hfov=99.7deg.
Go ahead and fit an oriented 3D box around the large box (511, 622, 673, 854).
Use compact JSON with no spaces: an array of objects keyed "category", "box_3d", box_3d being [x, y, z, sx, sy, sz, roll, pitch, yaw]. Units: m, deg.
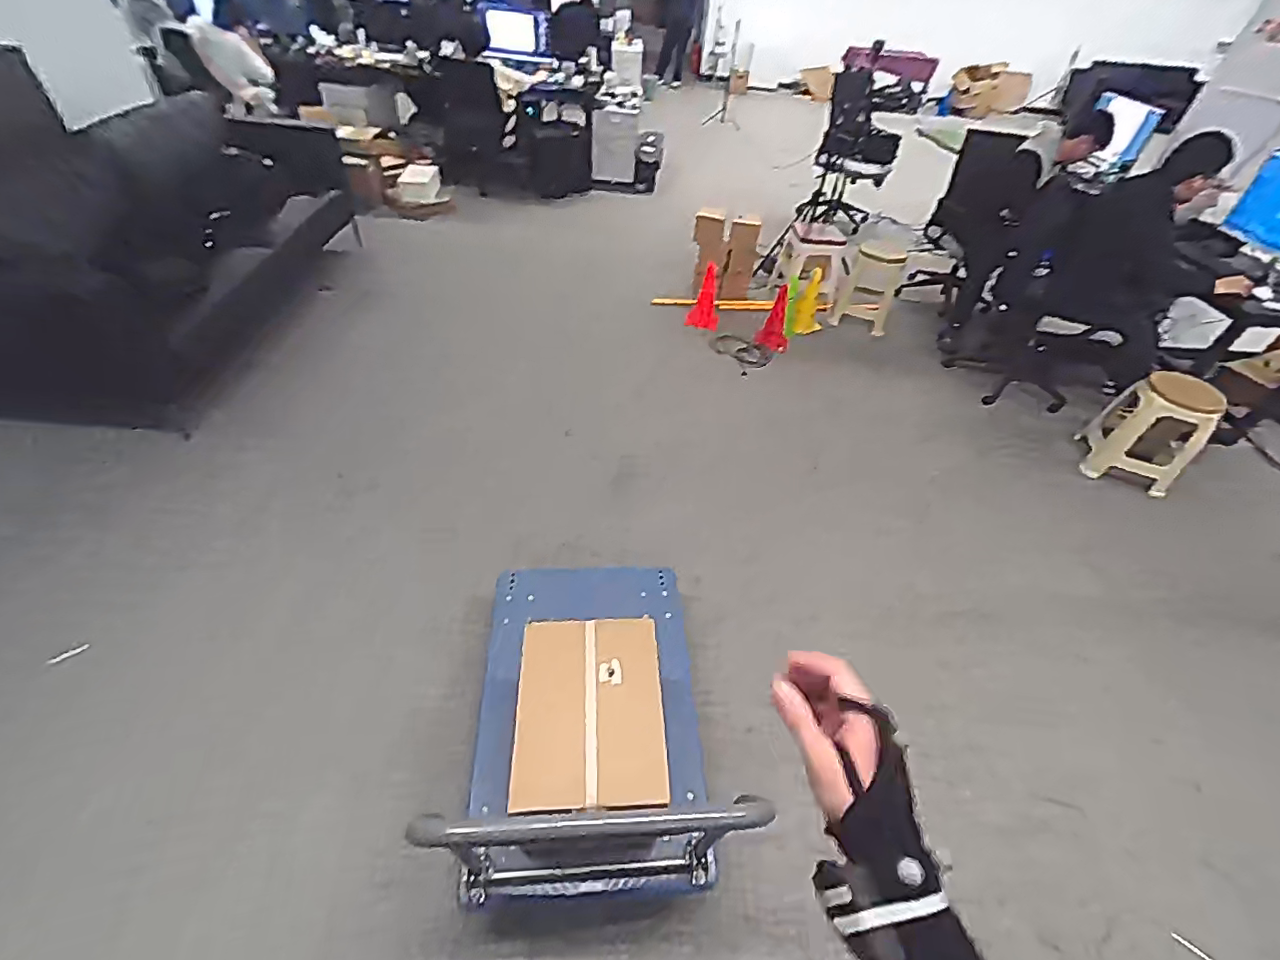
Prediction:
[{"category":"large box","box_3d":[-0.113,0.594,1.265,0.320,0.320,0.408,0,44,-6]}]
